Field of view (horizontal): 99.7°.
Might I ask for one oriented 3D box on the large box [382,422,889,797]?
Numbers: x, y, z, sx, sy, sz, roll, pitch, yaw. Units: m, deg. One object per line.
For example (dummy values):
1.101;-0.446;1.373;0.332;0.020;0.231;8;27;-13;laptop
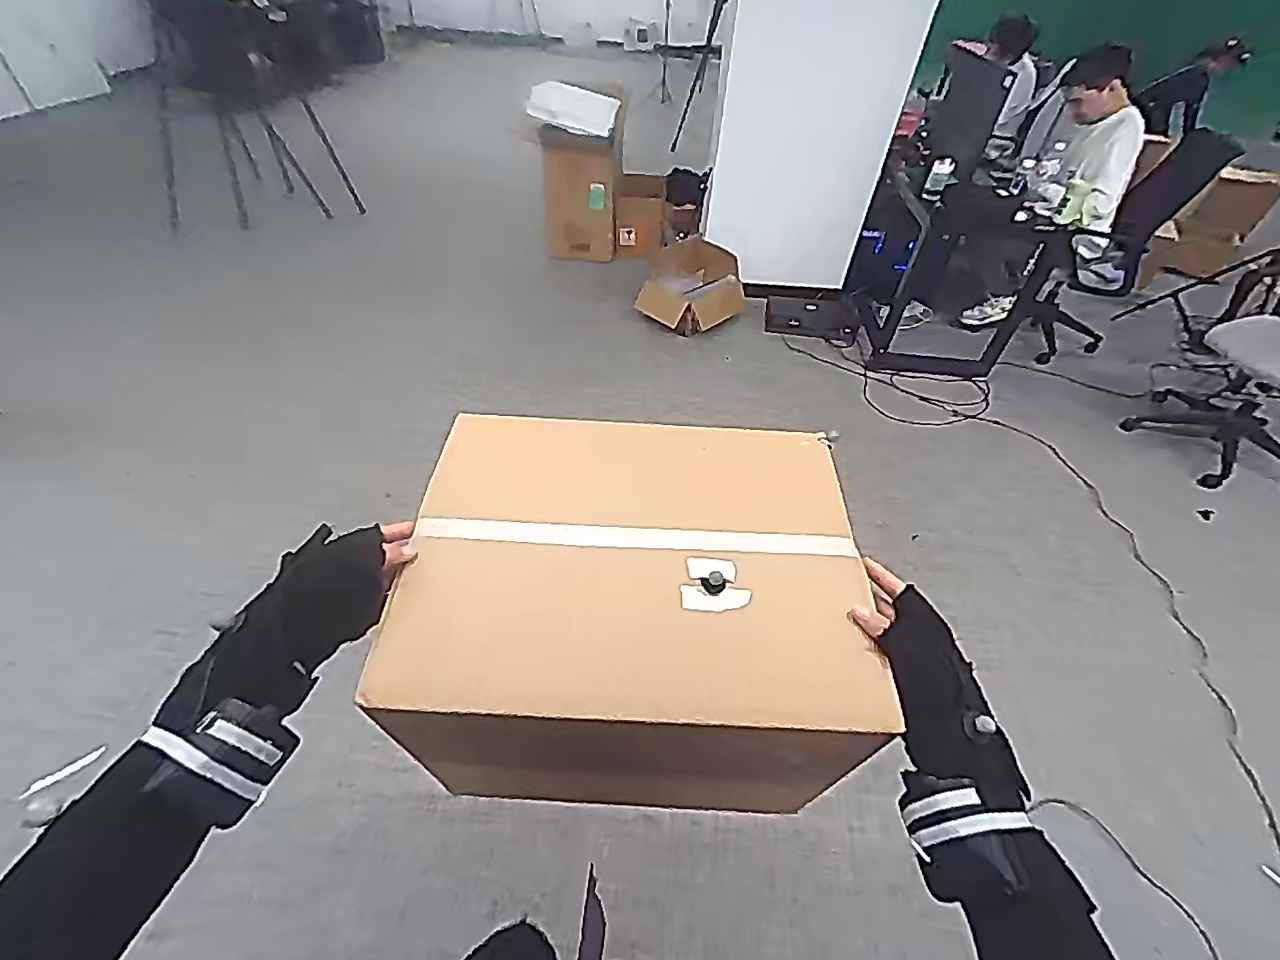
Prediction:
-0.007;0.156;0.624;0.408;0.320;0.320;4;50;-1;large box
